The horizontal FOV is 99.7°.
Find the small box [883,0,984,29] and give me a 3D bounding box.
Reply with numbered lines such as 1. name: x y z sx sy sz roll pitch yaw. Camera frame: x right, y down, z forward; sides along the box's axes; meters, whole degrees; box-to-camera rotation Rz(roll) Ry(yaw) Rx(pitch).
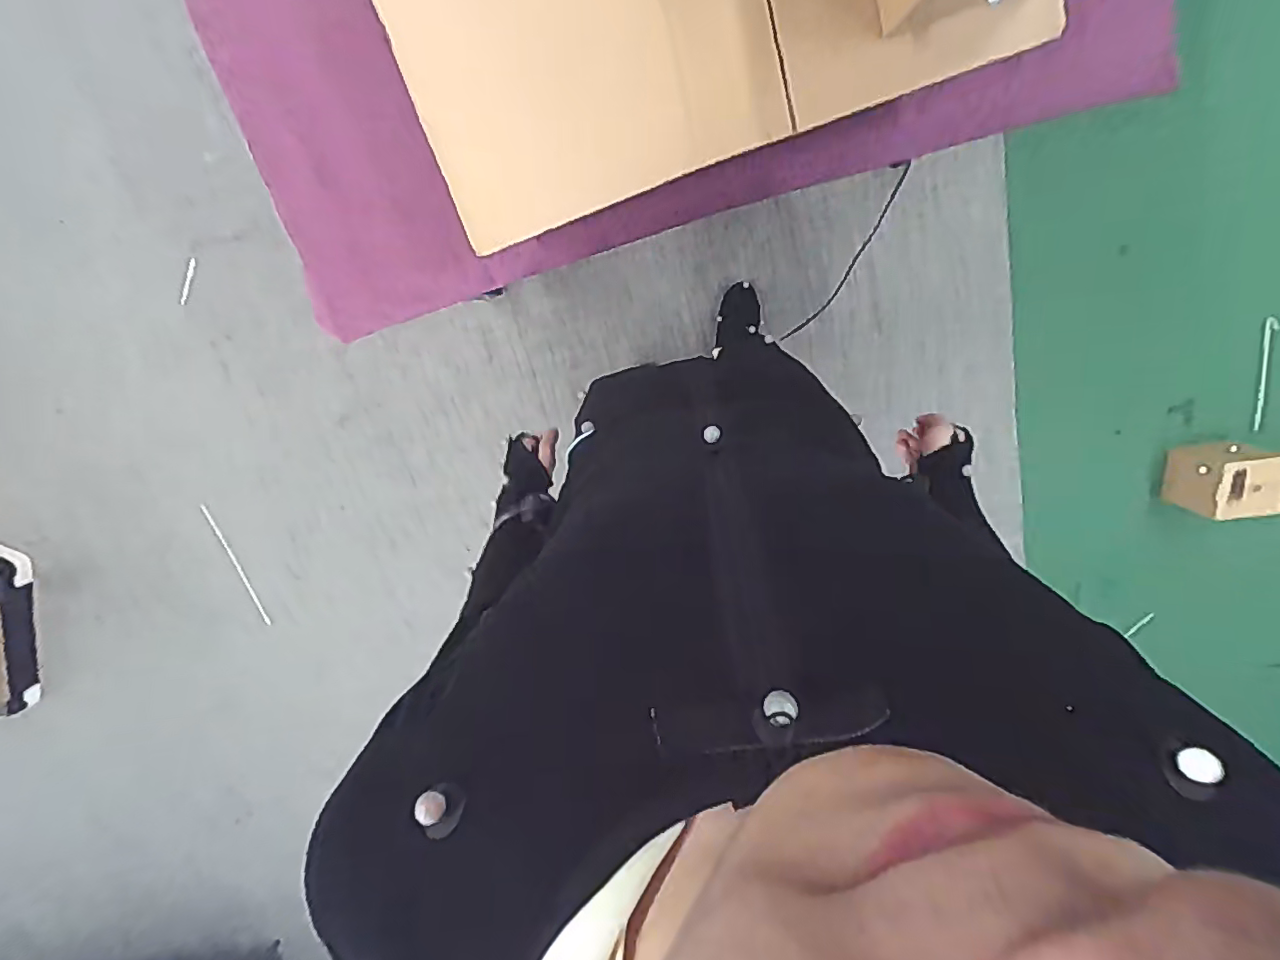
1. small box: 0.304 -0.534 0.446 0.168 0.176 0.179 -17 108 6
